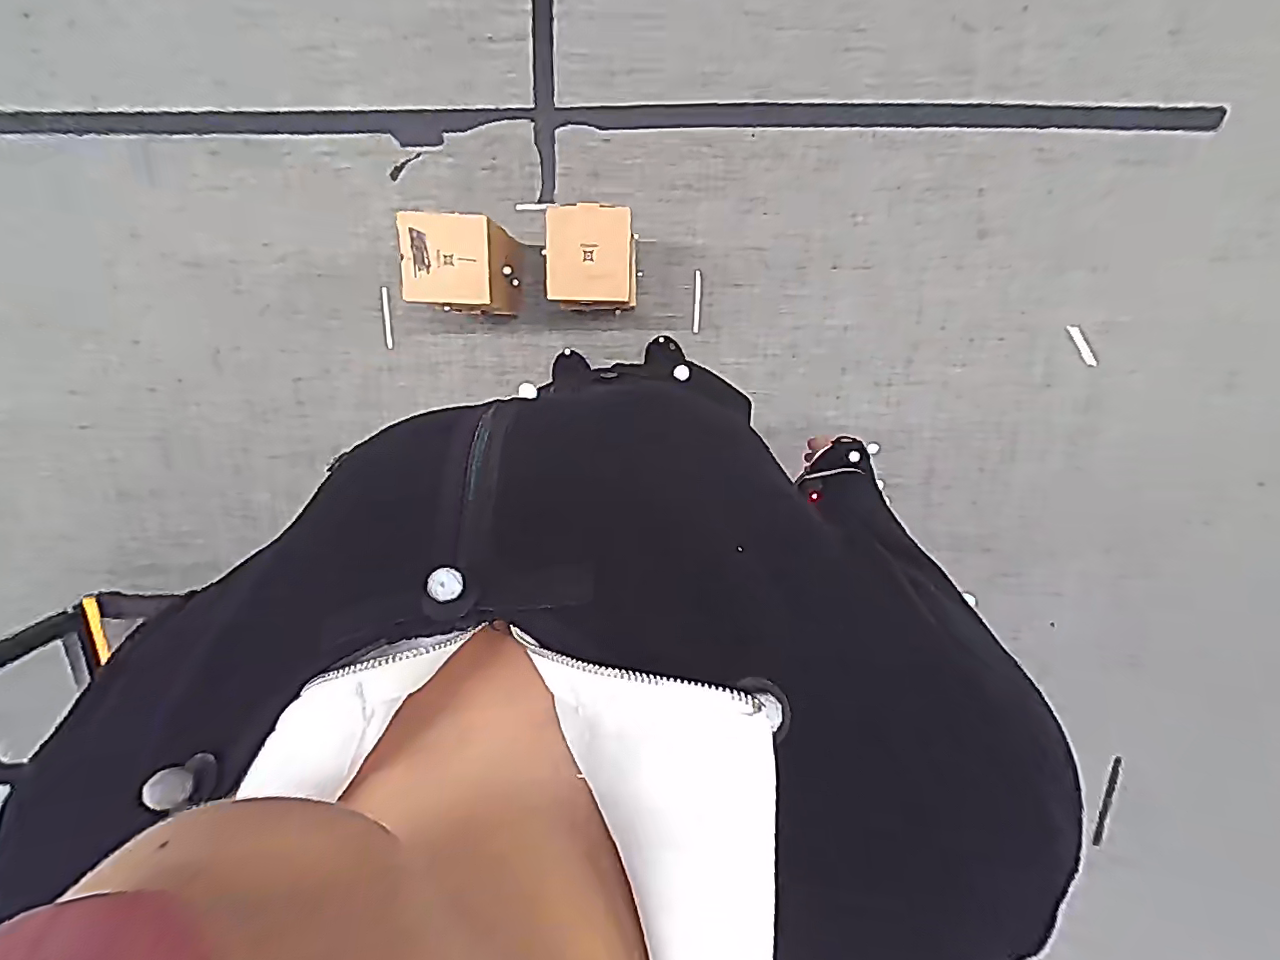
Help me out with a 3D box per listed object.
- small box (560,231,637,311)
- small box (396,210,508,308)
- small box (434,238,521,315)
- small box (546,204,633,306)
[{"bbox_3d":[-0.096,-0.492,1.284,0.179,0.176,0.168,0,106,0],"label":"small box"},{"bbox_3d":[-0.381,-0.450,1.123,0.179,0.176,0.168,2,106,-1],"label":"small box"},{"bbox_3d":[-0.383,-0.488,1.284,0.168,0.176,0.179,3,106,0],"label":"small box"},{"bbox_3d":[-0.100,-0.459,1.124,0.168,0.176,0.179,2,107,0],"label":"small box"}]
